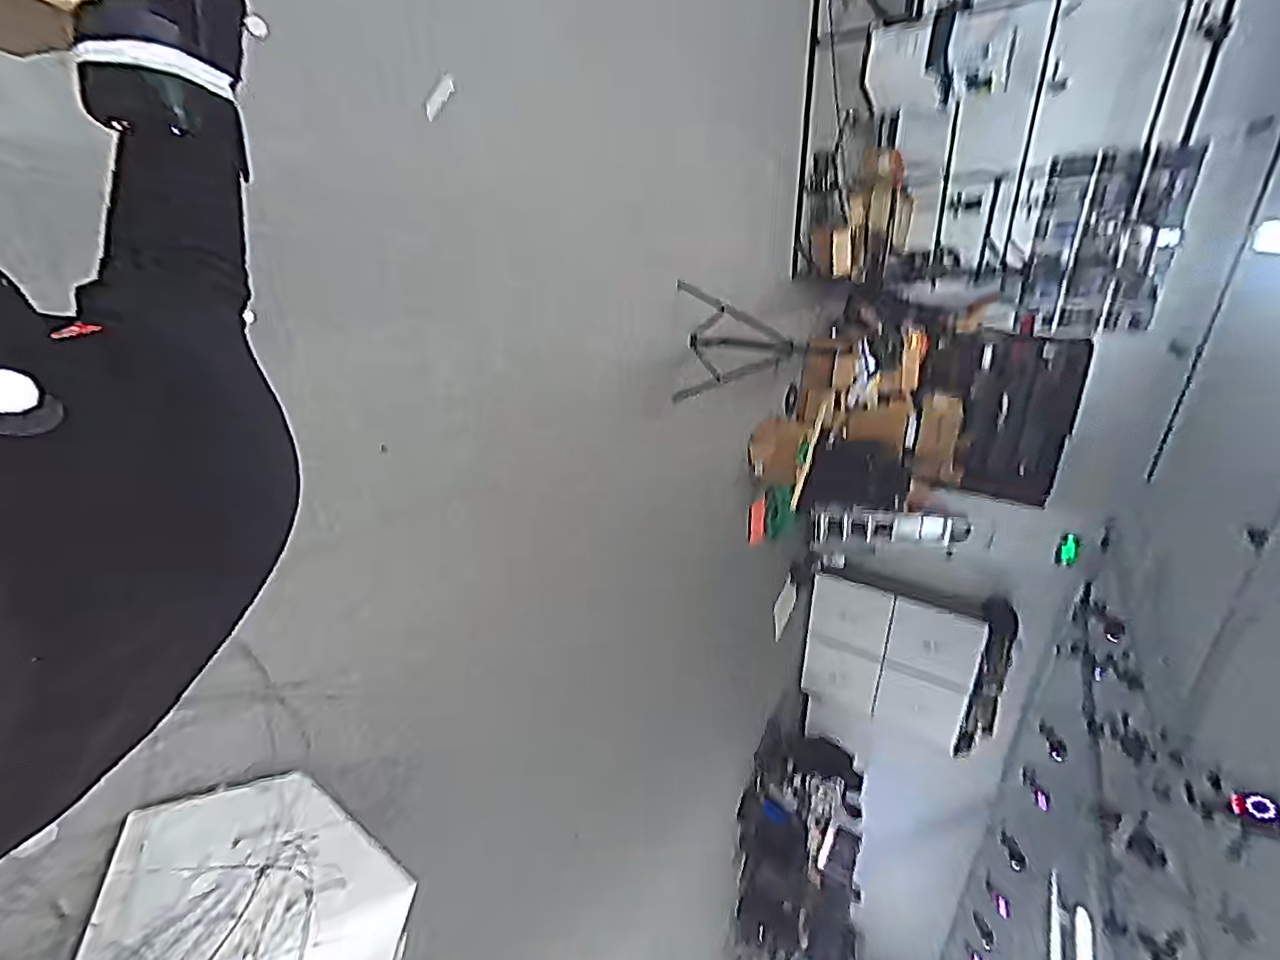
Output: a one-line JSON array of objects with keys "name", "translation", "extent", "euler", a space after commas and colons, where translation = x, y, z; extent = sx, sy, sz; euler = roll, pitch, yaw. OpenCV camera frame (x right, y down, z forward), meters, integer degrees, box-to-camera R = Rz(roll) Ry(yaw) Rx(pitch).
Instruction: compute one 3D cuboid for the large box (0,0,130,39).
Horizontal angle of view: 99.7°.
[{"name": "large box", "translation": [-0.531, -0.472, 0.223], "extent": [0.408, 0.320, 0.320], "euler": [-10, 120, -58]}]
